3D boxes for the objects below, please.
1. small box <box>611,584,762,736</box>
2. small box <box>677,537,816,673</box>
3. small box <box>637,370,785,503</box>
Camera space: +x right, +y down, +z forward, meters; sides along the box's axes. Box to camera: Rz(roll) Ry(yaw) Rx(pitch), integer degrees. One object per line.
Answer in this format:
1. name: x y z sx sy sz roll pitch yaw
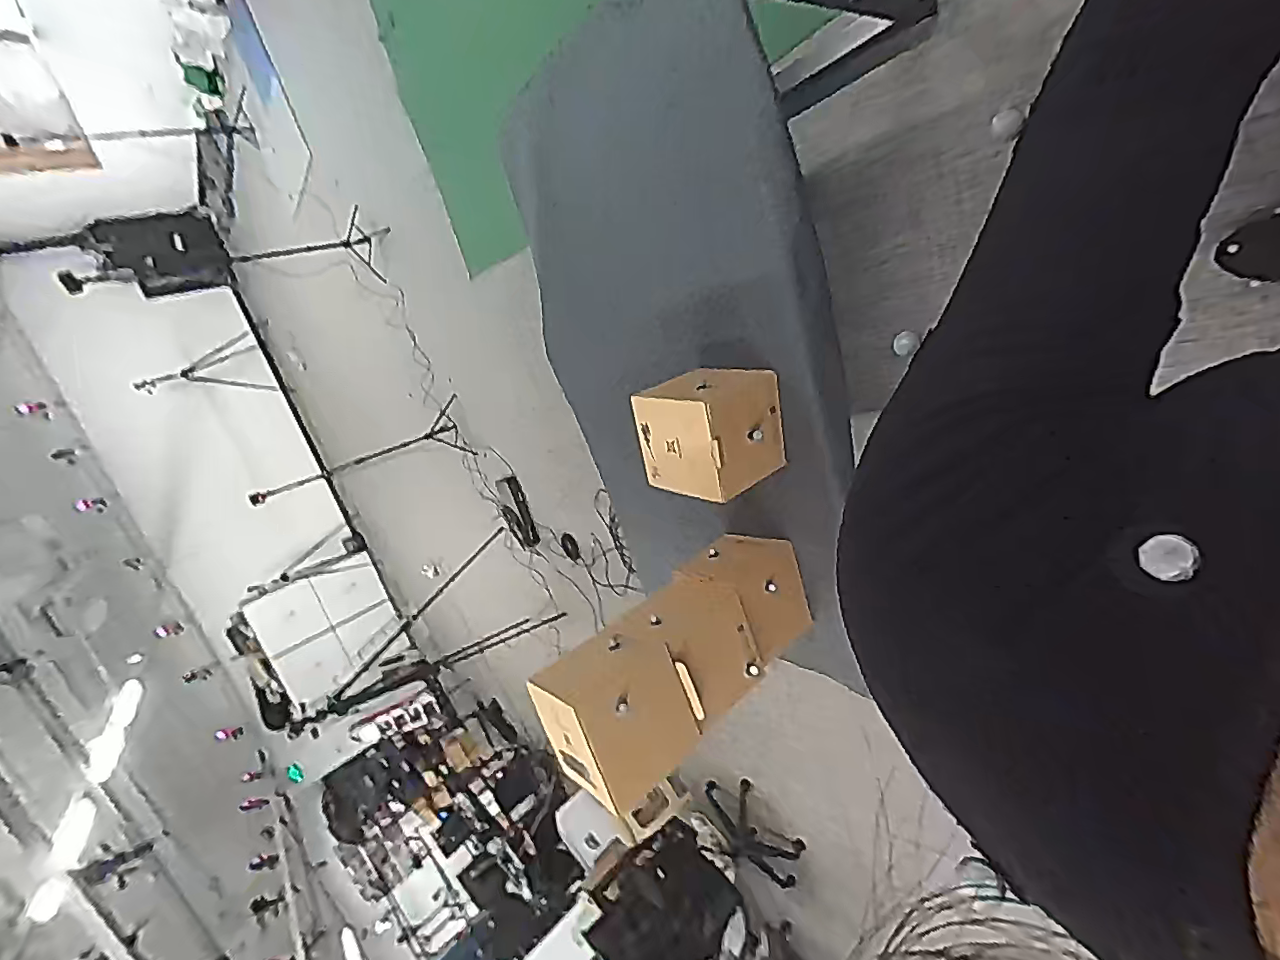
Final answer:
1. small box: 0.086 0.293 0.925 0.179 0.176 0.168 -6 107 56
2. small box: 0.203 0.222 1.016 0.168 0.176 0.179 0 113 54
3. small box: 0.127 -0.083 0.905 0.179 0.176 0.168 14 124 48
